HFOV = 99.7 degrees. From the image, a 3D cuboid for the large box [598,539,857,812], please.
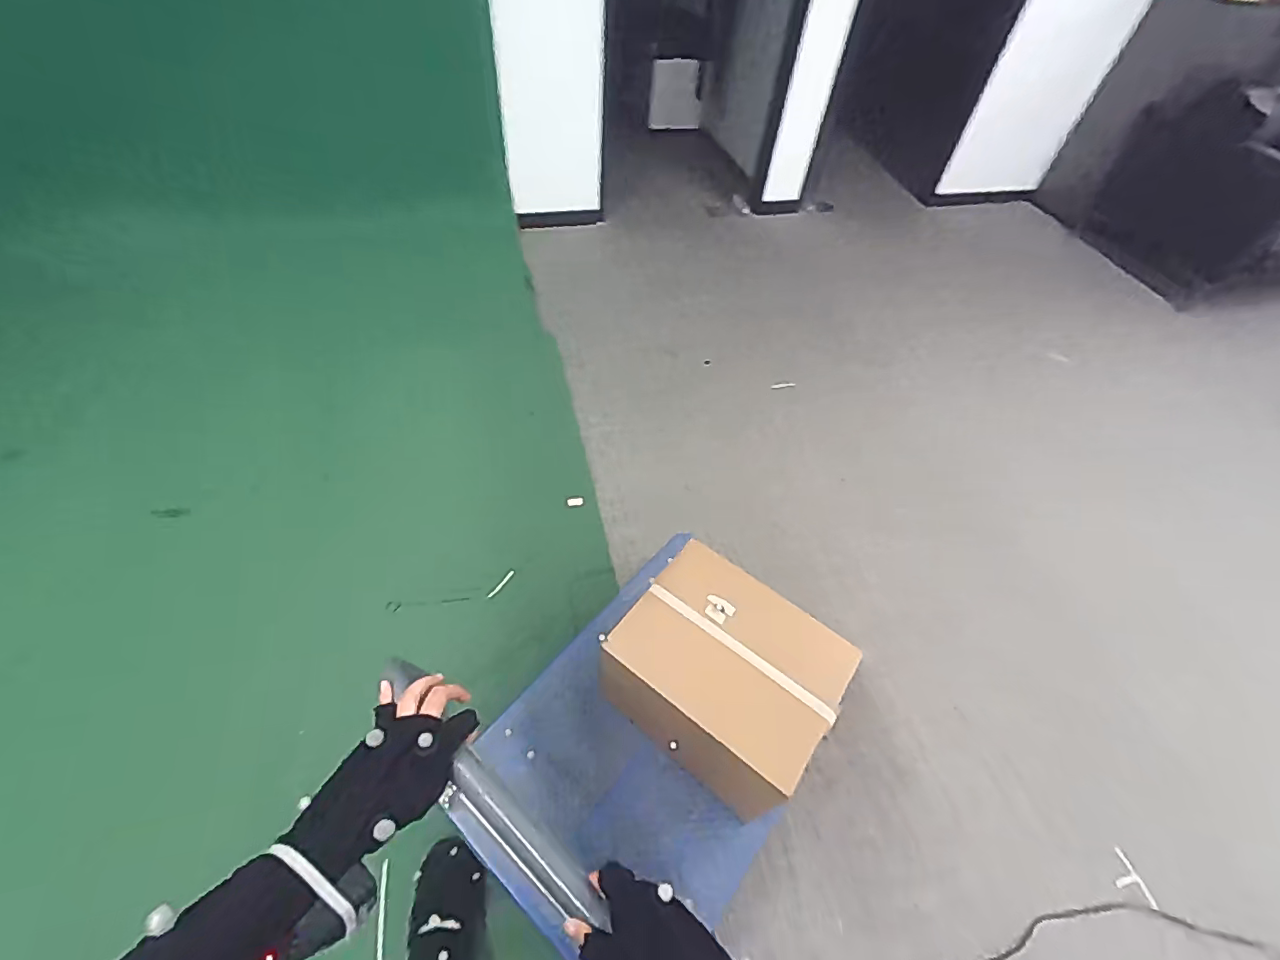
[{"bbox_3d":[0.163,0.407,1.137,0.408,0.320,0.320,33,56,21],"label":"large box"}]
